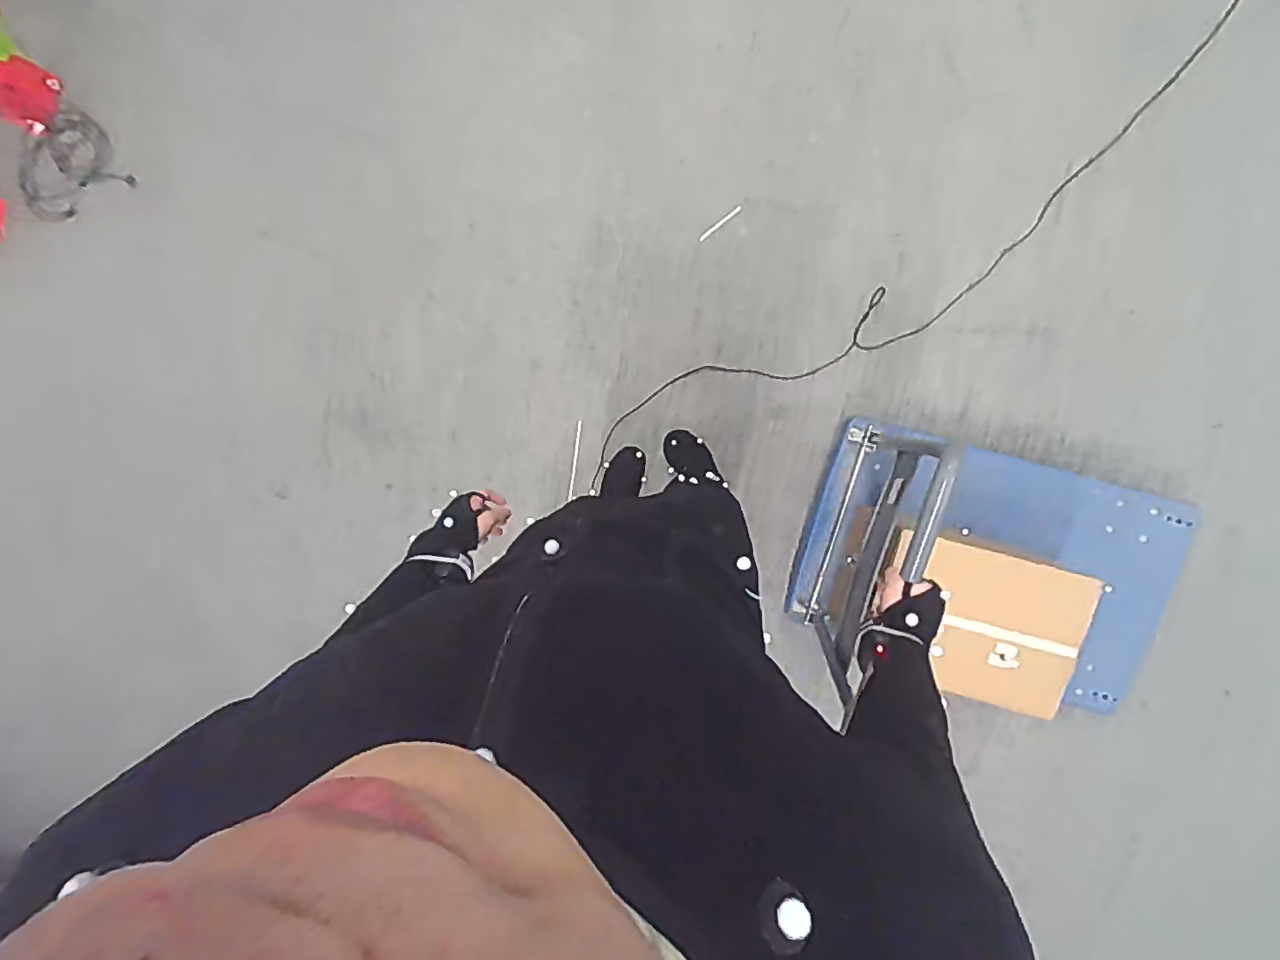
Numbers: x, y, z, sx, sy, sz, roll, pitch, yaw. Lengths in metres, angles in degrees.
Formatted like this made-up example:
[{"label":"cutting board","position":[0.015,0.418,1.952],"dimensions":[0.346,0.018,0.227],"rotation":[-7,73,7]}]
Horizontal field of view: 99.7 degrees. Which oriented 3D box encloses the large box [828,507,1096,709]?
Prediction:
[{"label":"large box","position":[0.711,0.273,1.272],"dimensions":[0.408,0.320,0.320],"rotation":[15,98,4]}]
